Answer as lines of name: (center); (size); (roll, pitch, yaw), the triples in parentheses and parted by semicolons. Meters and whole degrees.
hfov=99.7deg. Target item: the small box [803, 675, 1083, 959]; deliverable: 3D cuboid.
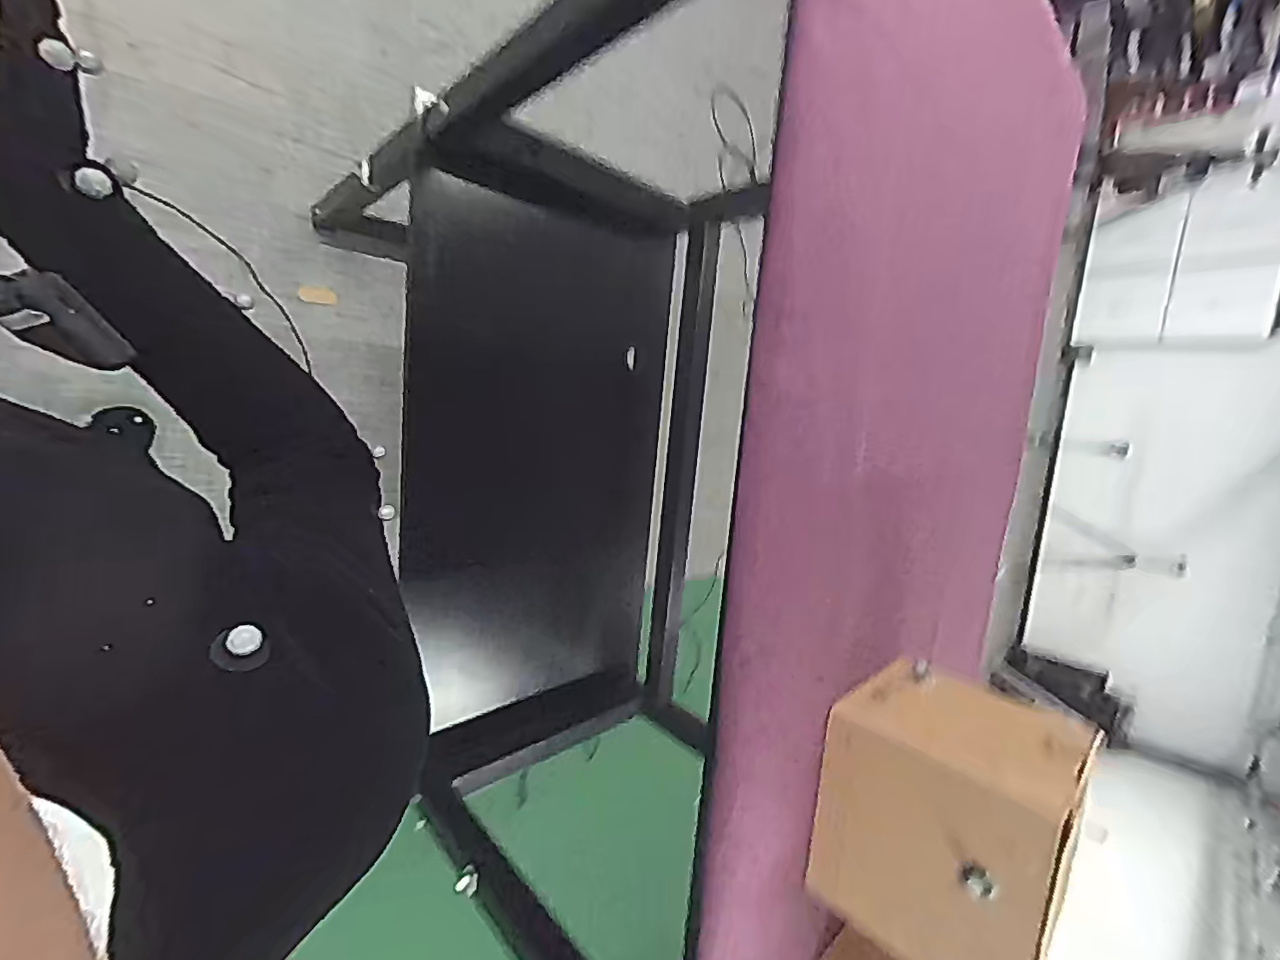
small box: (0.263, 0.294, 0.480); (0.168, 0.176, 0.179); (-2, 101, -44)
